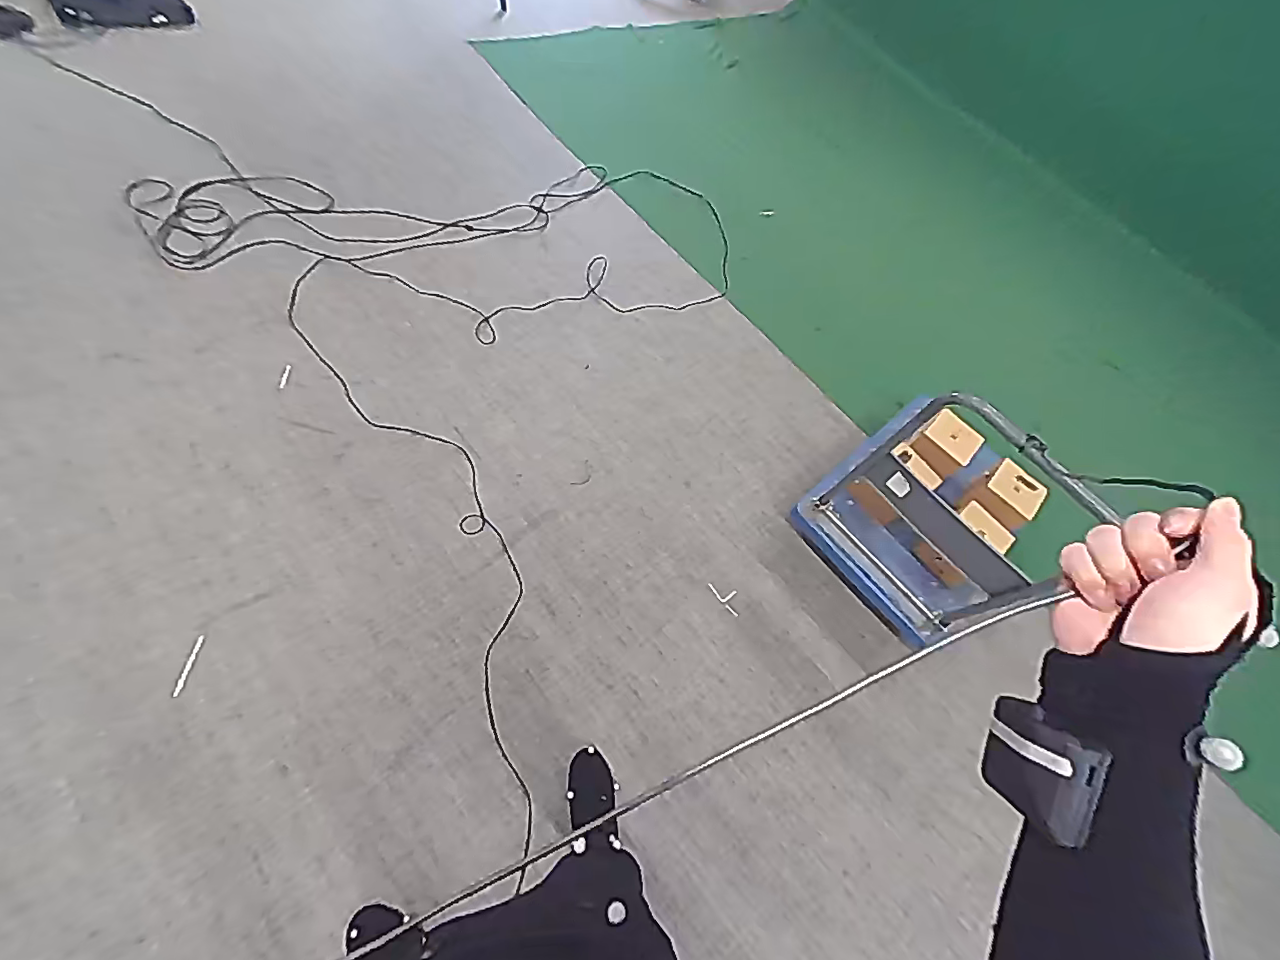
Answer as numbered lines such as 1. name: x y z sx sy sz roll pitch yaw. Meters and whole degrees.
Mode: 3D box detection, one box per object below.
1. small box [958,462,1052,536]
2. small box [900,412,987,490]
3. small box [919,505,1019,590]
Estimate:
1. small box: 1.209 0.078 1.802 0.168 0.176 0.179 44 61 13
2. small box: 1.033 -0.094 1.857 0.168 0.176 0.179 45 60 12
3. small box: 1.011 0.211 1.676 0.179 0.176 0.168 -33 73 -27
